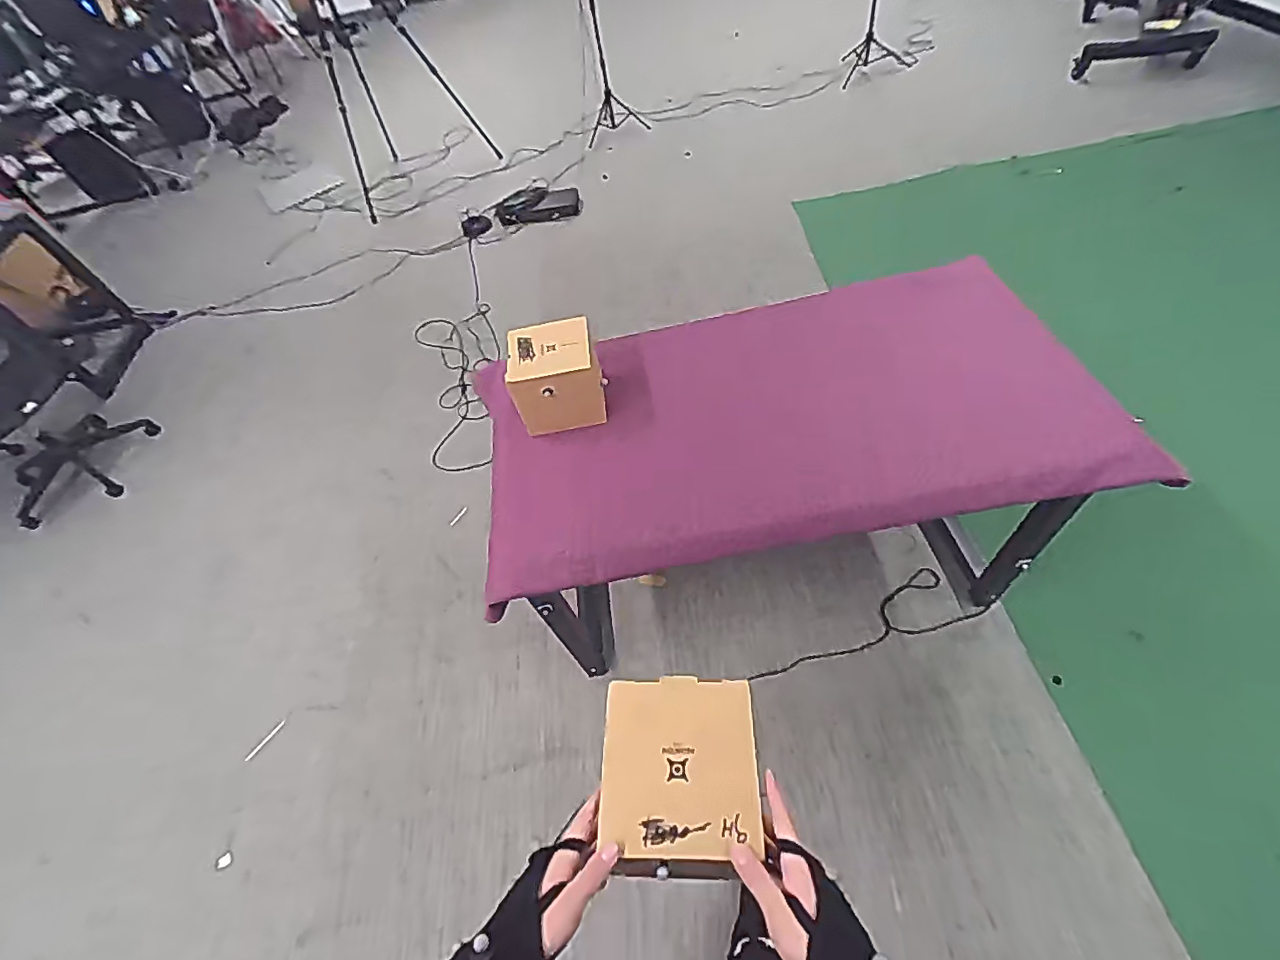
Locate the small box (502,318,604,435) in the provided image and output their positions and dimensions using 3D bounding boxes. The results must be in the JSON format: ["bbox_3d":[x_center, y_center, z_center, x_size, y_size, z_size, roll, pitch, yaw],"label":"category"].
[{"bbox_3d":[-0.183,-0.217,1.166,0.179,0.176,0.168,-10,54,2],"label":"small box"}]

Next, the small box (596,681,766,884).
[{"bbox_3d":[0.050,0.351,0.628,0.168,0.176,0.179,-3,49,7],"label":"small box"}]
